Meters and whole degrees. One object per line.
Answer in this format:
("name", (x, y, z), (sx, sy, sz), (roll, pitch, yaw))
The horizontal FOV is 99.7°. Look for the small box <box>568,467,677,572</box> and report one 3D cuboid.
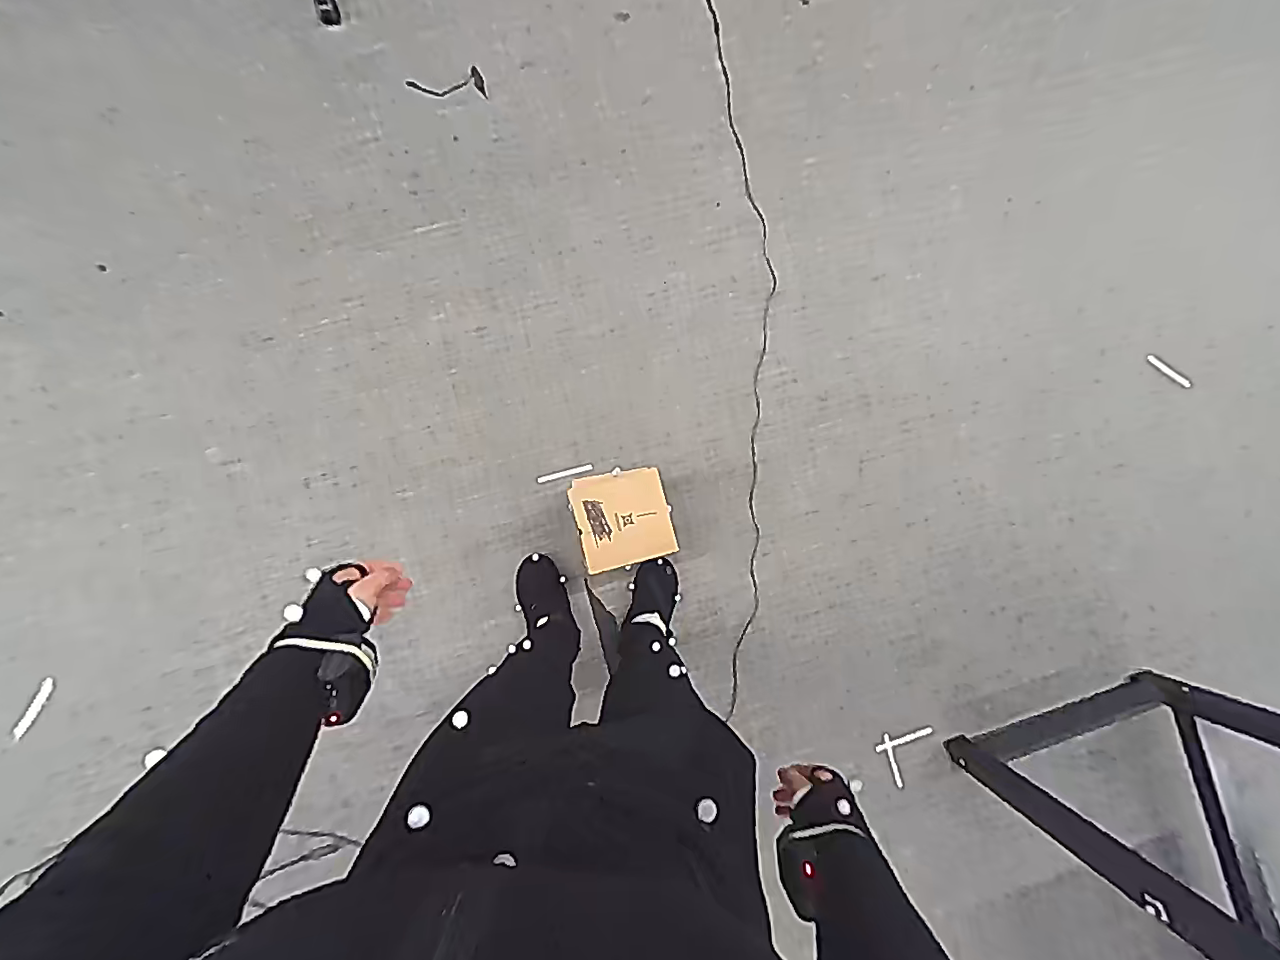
("small box", (-0.036, 0.077, 1.094), (0.179, 0.176, 0.168), (-15, 90, -4))
